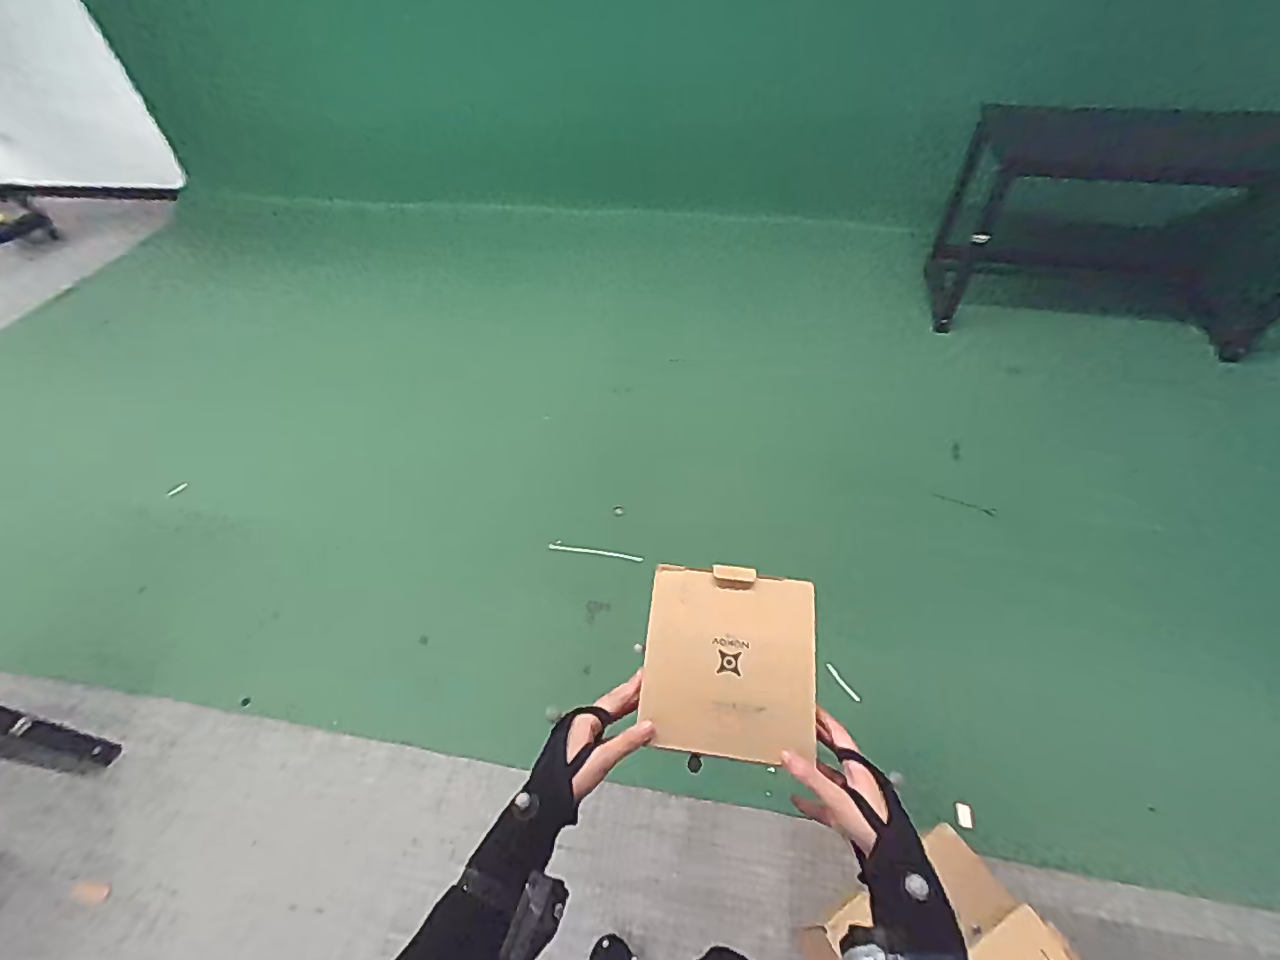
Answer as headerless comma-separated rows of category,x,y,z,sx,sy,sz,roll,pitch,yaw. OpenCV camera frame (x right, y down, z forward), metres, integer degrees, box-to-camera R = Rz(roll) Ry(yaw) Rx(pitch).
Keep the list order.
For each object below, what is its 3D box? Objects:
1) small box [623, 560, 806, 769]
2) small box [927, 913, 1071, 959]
small box,0.077,0.204,0.590,0.168,0.176,0.179,6,64,5
small box,0.526,0.755,0.766,0.179,0.176,0.168,-23,51,-15
